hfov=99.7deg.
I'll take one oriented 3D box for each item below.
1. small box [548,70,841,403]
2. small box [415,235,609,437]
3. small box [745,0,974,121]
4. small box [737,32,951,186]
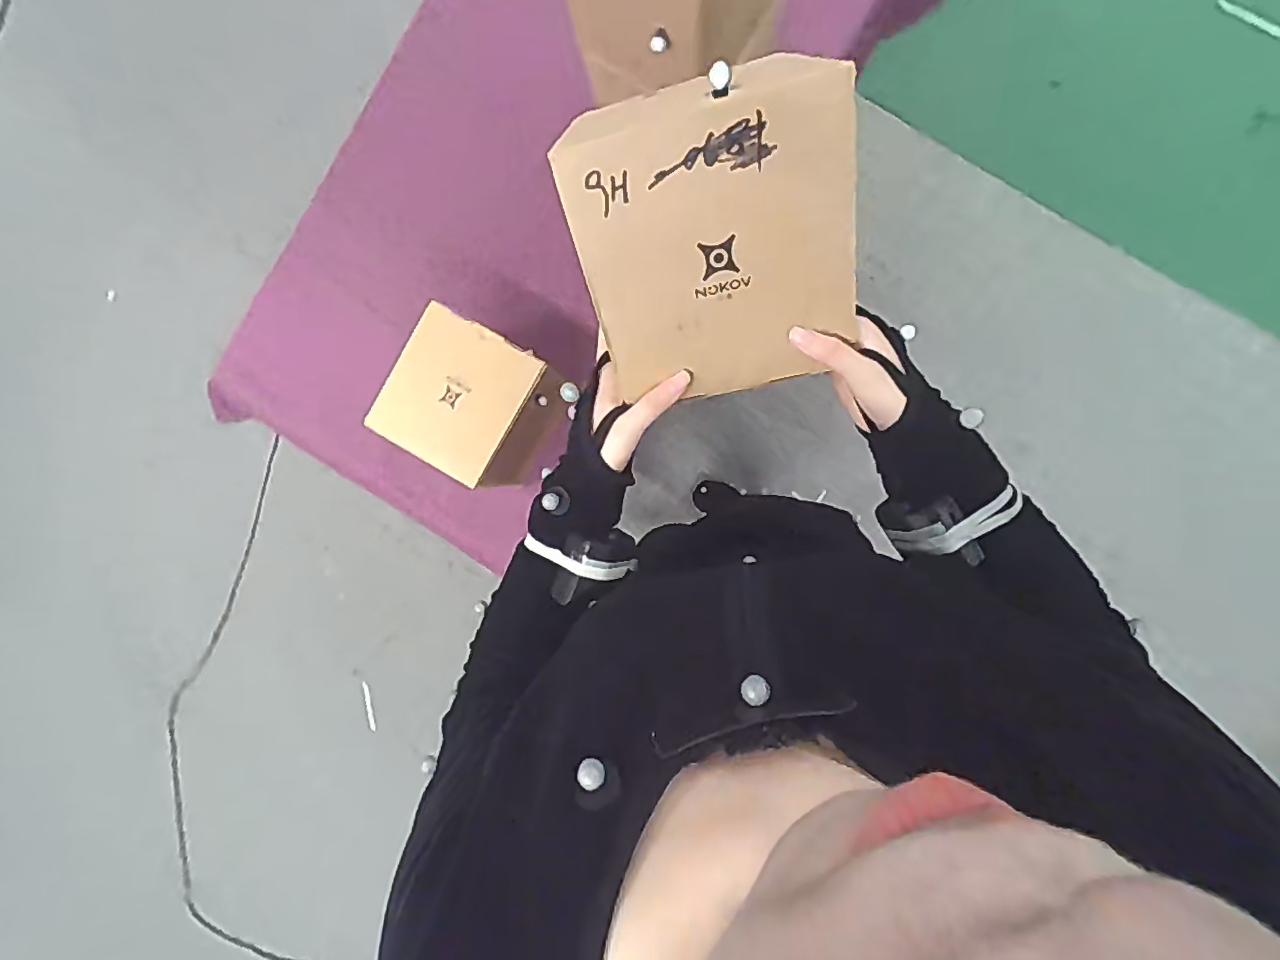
[{"bbox_3d":[0.047,-0.185,0.409,0.168,0.176,0.179,-9,126,9],"label":"small box"},{"bbox_3d":[-0.151,-0.176,0.724,0.179,0.176,0.168,-42,85,3],"label":"small box"},{"bbox_3d":[0.221,-0.498,0.526,0.168,0.176,0.179,-37,85,4],"label":"small box"},{"bbox_3d":[0.240,-0.491,0.689,0.168,0.176,0.179,-39,85,3],"label":"small box"}]
